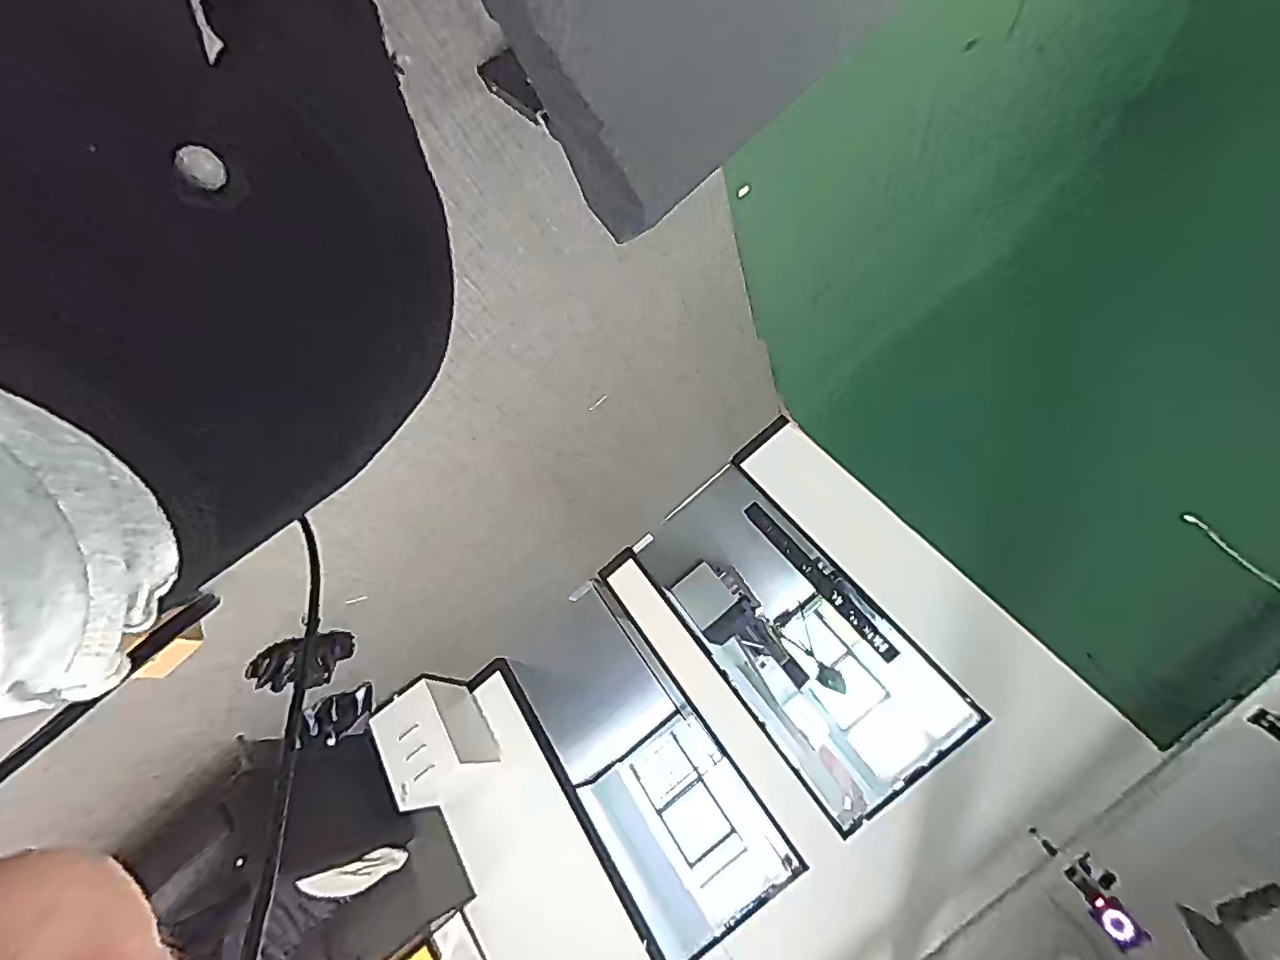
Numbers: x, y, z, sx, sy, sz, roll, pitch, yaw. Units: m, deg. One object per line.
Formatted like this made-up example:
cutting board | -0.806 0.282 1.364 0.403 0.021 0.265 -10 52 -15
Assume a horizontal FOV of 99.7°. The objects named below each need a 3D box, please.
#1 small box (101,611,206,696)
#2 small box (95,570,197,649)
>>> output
small box | -1.438 0.511 1.592 0.179 0.176 0.168 -41 150 2
small box | -1.531 0.404 1.672 0.179 0.176 0.168 -43 151 2
